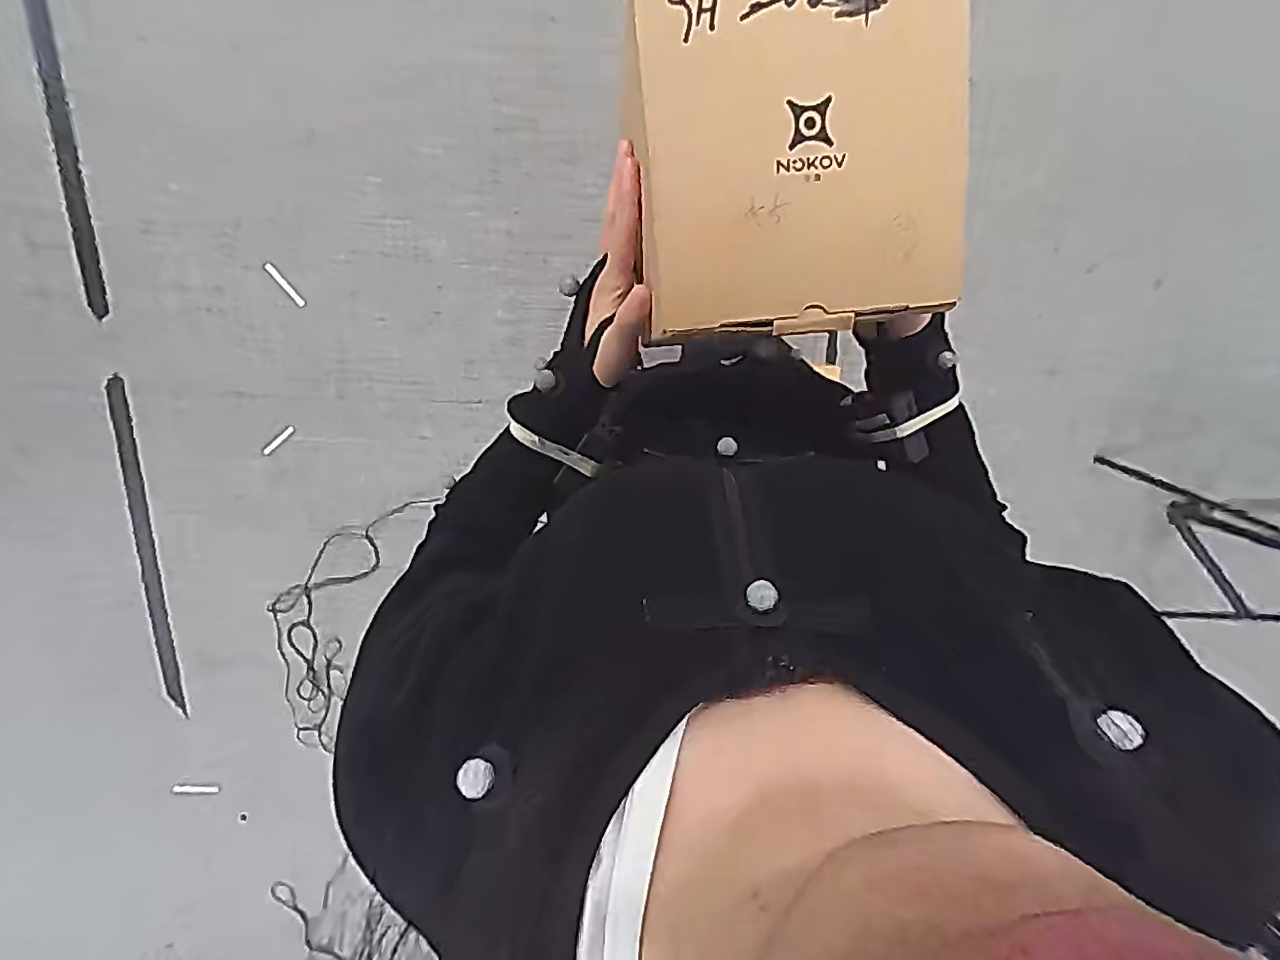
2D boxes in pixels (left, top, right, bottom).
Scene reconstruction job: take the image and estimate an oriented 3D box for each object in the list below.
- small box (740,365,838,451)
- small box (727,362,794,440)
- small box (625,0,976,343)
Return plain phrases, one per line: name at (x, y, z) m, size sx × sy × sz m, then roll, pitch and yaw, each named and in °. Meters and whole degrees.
small box at (0.327, -0.168, 1.221) m, size 0.168 × 0.176 × 0.179 m, roll 1°, pitch 105°, yaw -2°
small box at (0.321, -0.206, 1.381) m, size 0.168 × 0.176 × 0.179 m, roll -2°, pitch 106°, yaw -2°
small box at (0.081, -0.184, 0.351) m, size 0.168 × 0.176 × 0.179 m, roll -6°, pitch 102°, yaw -3°
